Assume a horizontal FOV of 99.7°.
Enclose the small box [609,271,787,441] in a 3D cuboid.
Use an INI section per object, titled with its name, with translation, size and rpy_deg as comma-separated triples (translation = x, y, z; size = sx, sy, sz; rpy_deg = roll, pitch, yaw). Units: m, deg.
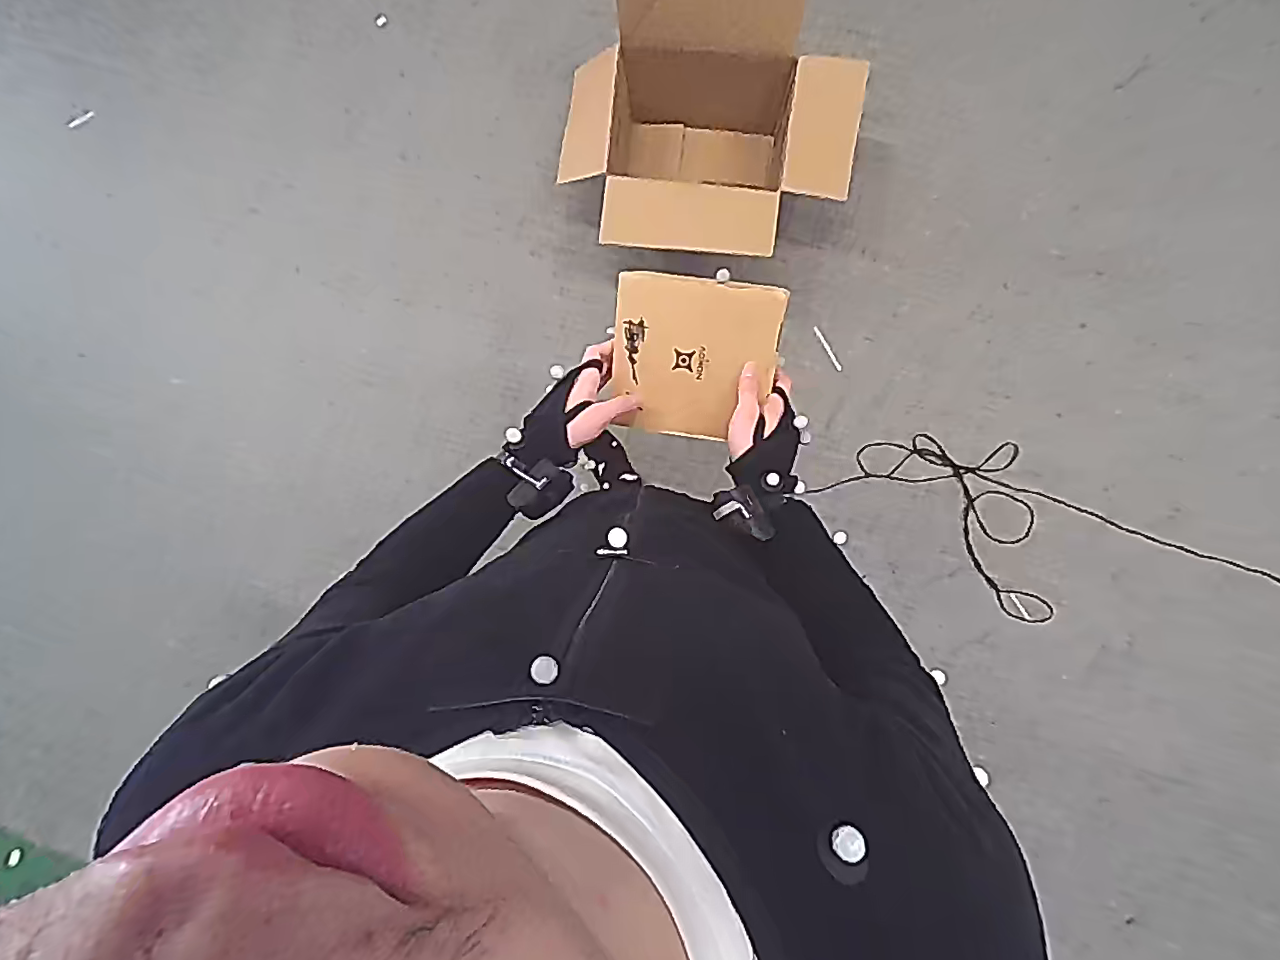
[small box]
translation = 0.071, -0.159, 0.656
size = 0.179, 0.176, 0.168
rpy_deg = 9, 112, 8
